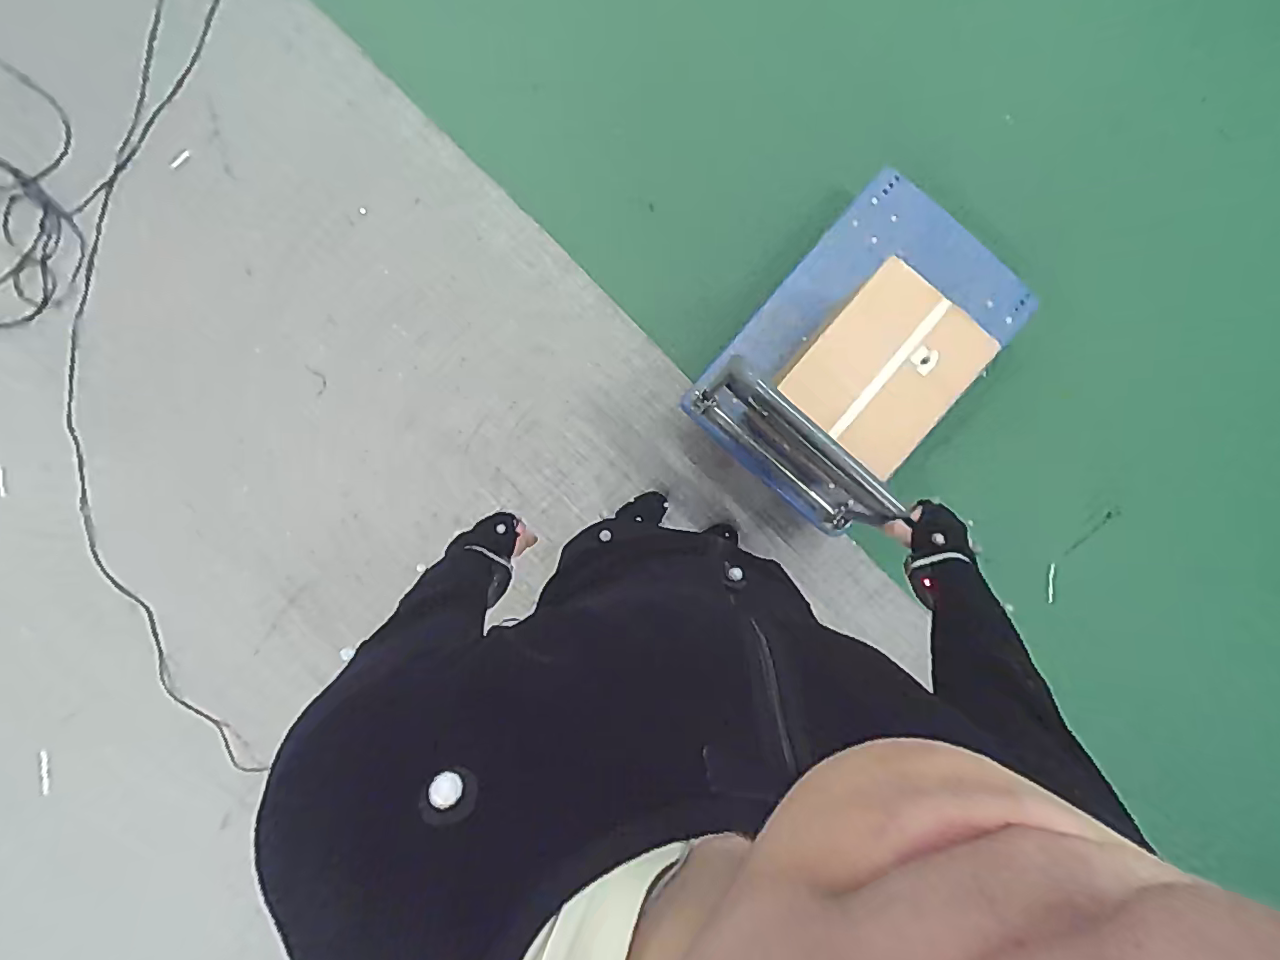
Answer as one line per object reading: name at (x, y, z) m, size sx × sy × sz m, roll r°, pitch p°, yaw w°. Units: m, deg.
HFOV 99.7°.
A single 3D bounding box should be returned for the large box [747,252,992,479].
large box at (0.527, -0.249, 1.324) m, size 0.320 × 0.320 × 0.408 m, roll 41°, pitch 89°, yaw -1°
